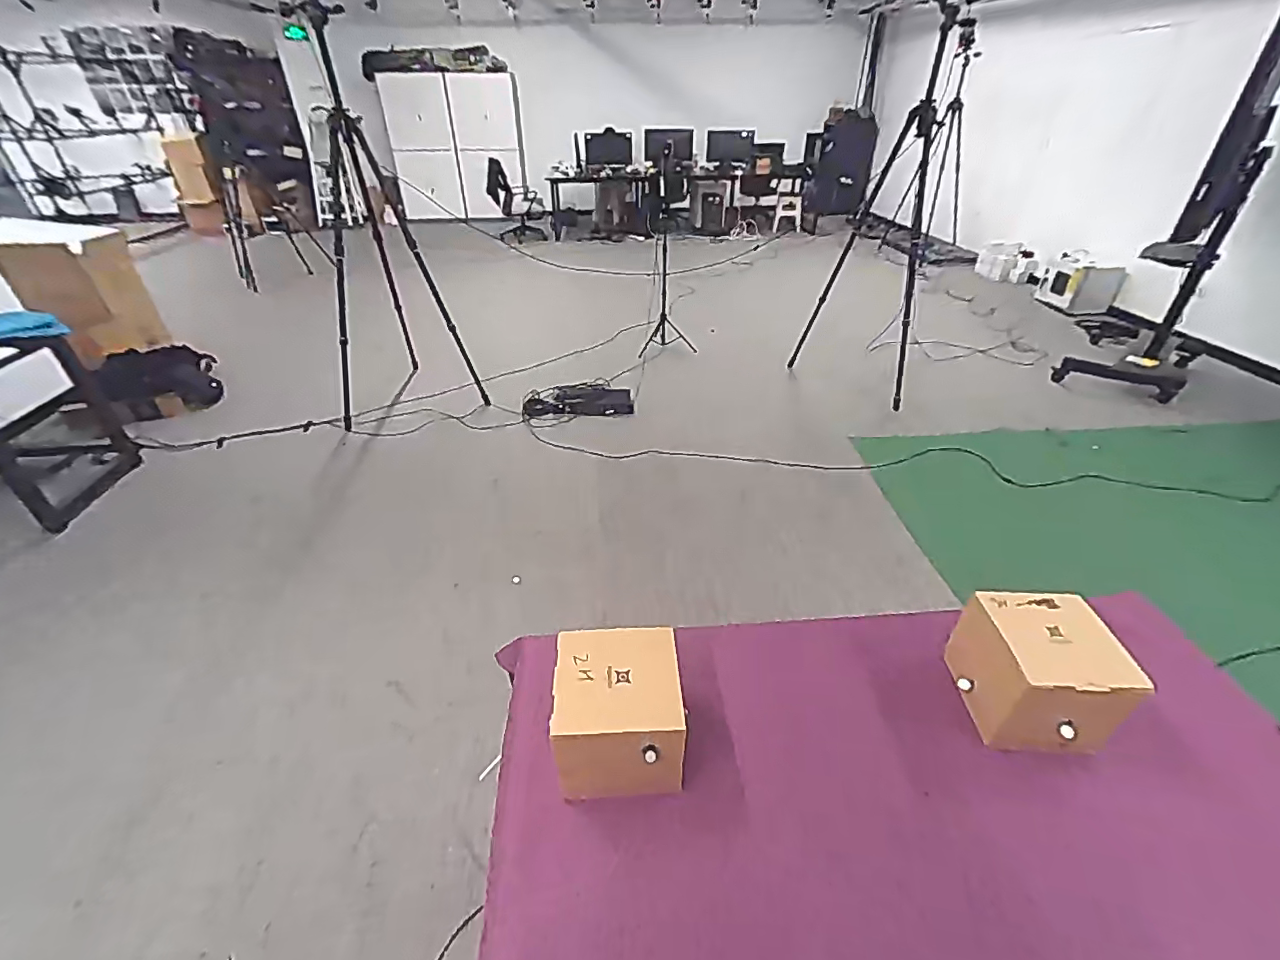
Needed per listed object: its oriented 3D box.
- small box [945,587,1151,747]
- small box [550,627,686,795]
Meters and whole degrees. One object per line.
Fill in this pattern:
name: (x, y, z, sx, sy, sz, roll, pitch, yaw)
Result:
small box: (0.611, 0.290, 0.840, 0.168, 0.176, 0.179, 2, 36, 3)
small box: (-0.030, 0.338, 0.795, 0.179, 0.176, 0.168, -2, 35, -2)
